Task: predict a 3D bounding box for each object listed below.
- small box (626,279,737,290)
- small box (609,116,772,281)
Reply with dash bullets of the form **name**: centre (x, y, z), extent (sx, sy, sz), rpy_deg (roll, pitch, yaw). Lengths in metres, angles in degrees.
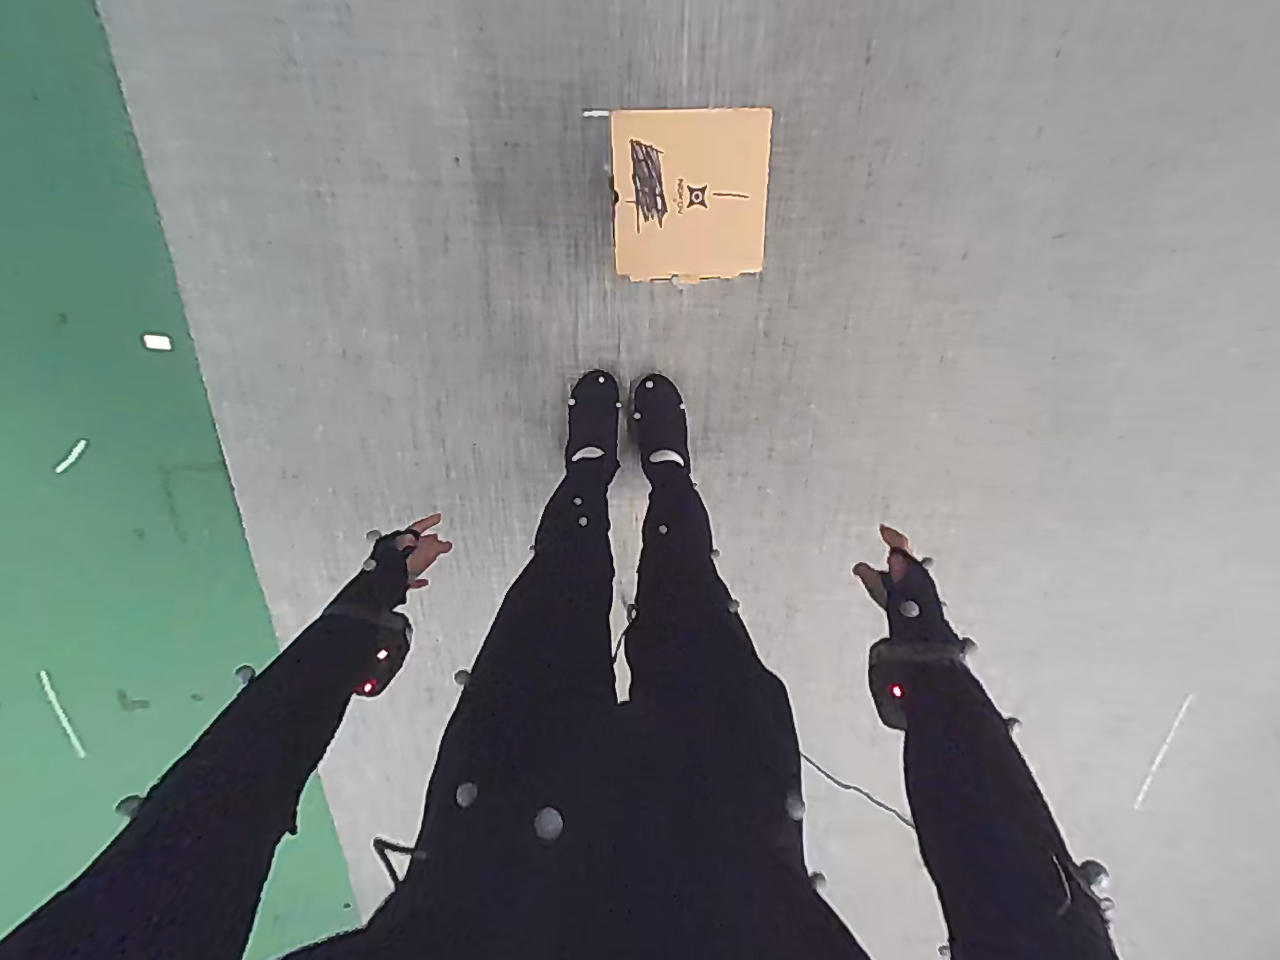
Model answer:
- **small box**: centre (0.061, -0.392, 0.835), extent (0.168, 0.176, 0.179), rpy_deg (-1, 112, -1)
- **small box**: centre (0.054, -0.339, 0.679), extent (0.179, 0.176, 0.168), rpy_deg (-1, 111, -1)
